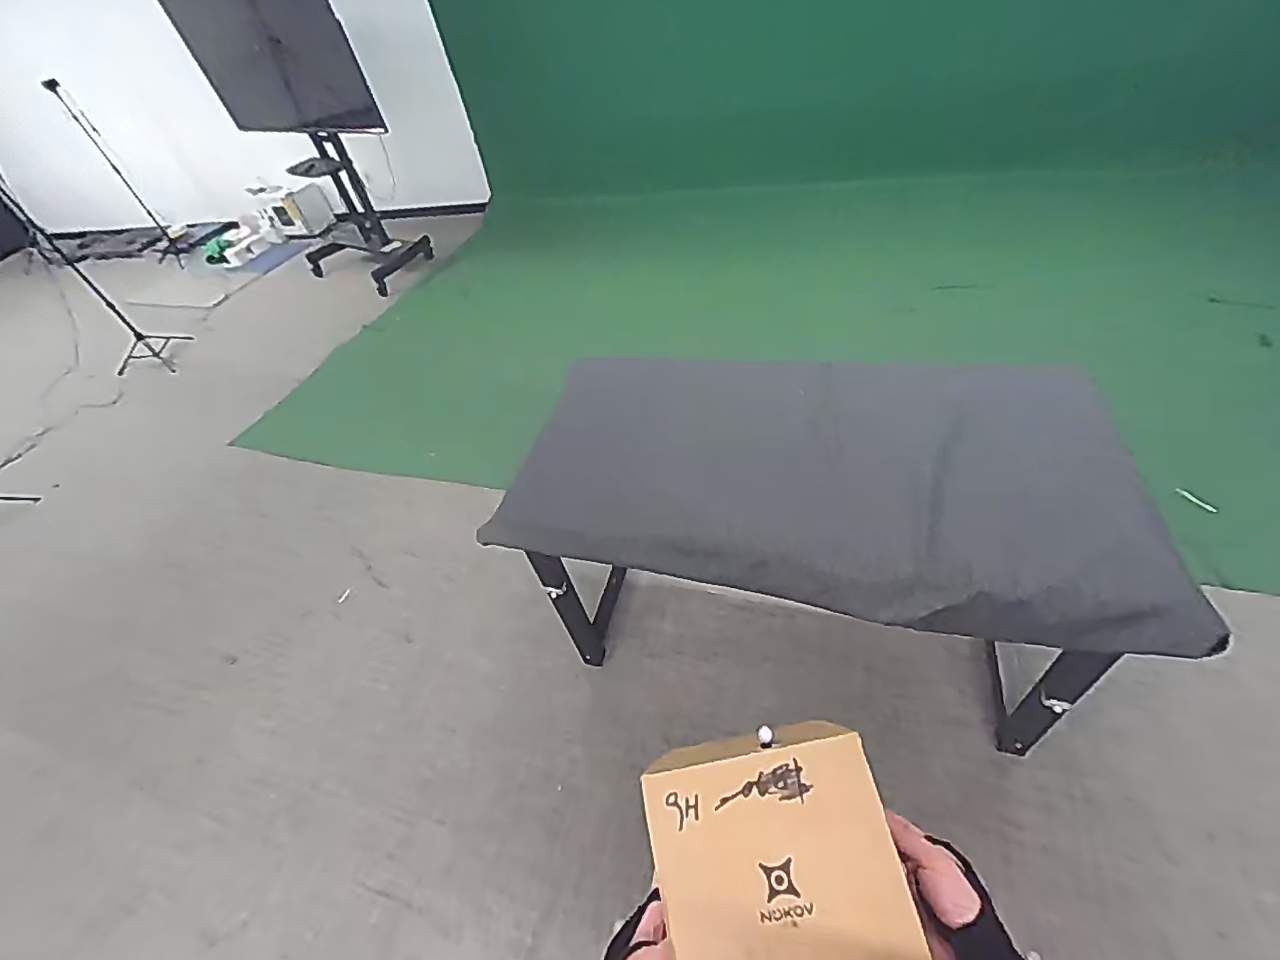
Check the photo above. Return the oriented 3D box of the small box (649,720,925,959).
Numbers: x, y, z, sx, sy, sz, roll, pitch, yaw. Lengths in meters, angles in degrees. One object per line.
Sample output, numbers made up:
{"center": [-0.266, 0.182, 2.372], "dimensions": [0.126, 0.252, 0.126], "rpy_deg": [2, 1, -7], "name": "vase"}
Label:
{"center": [0.113, 0.314, 0.451], "dimensions": [0.168, 0.176, 0.179], "rpy_deg": [-13, 69, 4], "name": "small box"}
